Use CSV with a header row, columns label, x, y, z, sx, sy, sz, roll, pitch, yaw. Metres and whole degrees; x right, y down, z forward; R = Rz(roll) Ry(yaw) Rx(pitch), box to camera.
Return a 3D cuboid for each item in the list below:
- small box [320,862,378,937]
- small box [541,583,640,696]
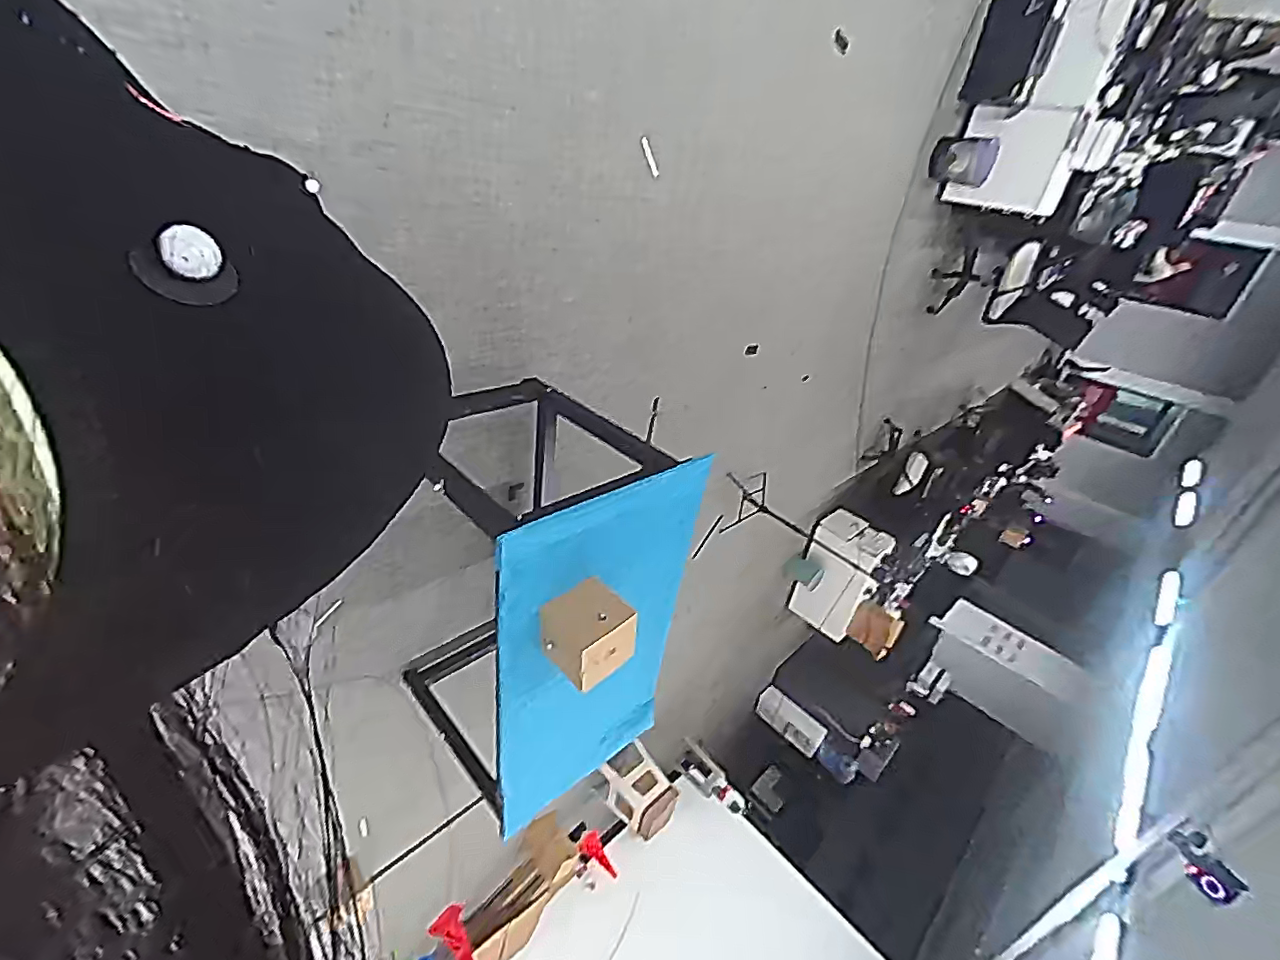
label,x,y,z,sx,sy,sz,roll,pitch,yaw
small box,-1.266,1.811,2.346,0.168,0.176,0.179,-22,133,-39
small box,-0.126,0.386,1.340,0.179,0.176,0.168,-21,131,-37
